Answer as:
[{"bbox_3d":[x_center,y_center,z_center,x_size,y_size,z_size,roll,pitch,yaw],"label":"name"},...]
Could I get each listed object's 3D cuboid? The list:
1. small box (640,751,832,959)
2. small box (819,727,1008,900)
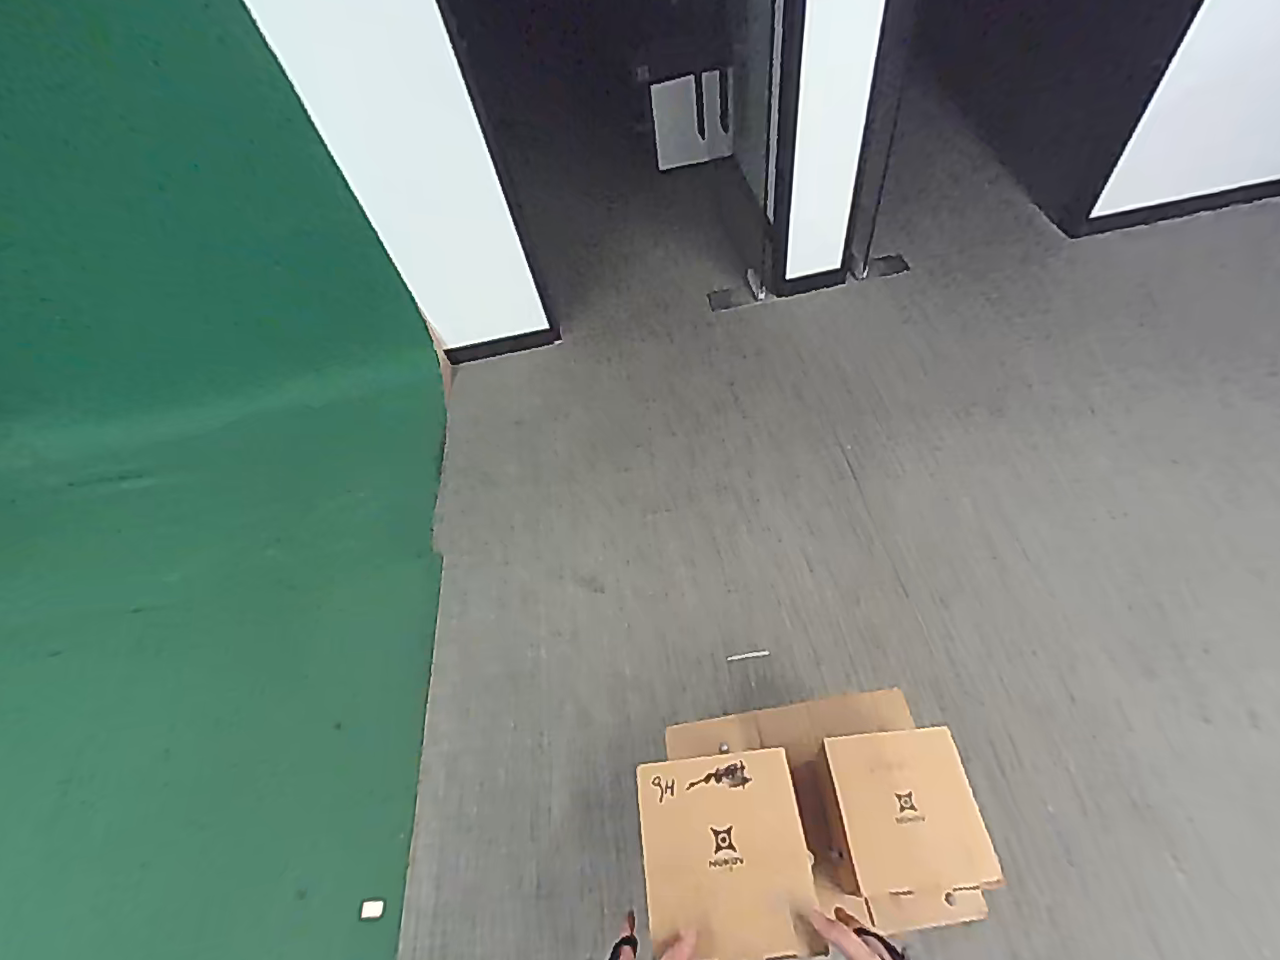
[{"bbox_3d":[0.099,0.419,0.606,0.168,0.176,0.179,-9,55,2],"label":"small box"},{"bbox_3d":[0.351,0.453,0.735,0.168,0.176,0.179,-9,52,6],"label":"small box"}]
